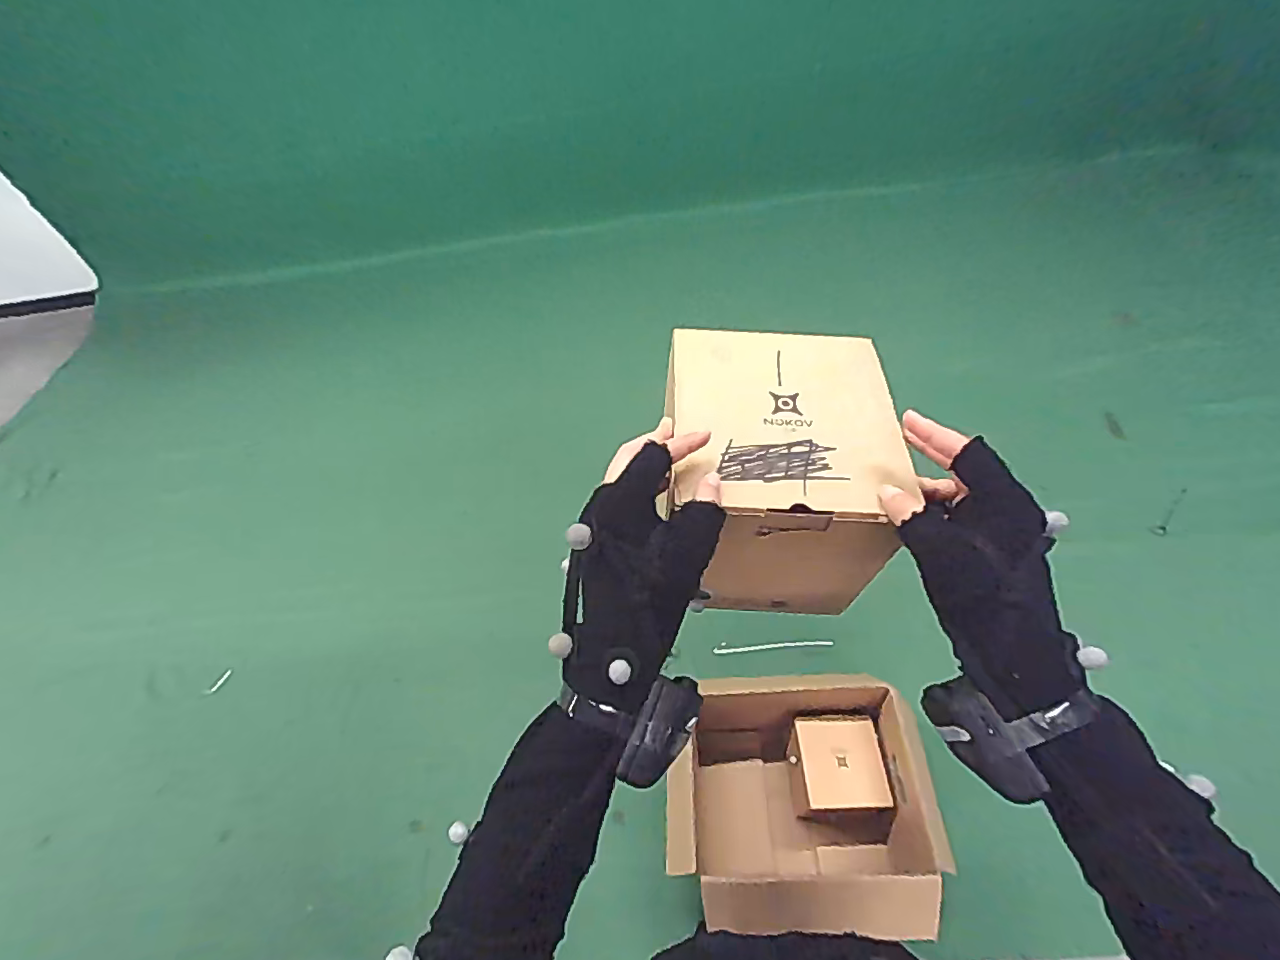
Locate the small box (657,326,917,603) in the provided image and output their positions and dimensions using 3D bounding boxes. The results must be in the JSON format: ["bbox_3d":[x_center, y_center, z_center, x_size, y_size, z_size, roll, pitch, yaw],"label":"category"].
[{"bbox_3d":[0.102,-0.007,0.463,0.168,0.176,0.179,3,55,0],"label":"small box"}]
